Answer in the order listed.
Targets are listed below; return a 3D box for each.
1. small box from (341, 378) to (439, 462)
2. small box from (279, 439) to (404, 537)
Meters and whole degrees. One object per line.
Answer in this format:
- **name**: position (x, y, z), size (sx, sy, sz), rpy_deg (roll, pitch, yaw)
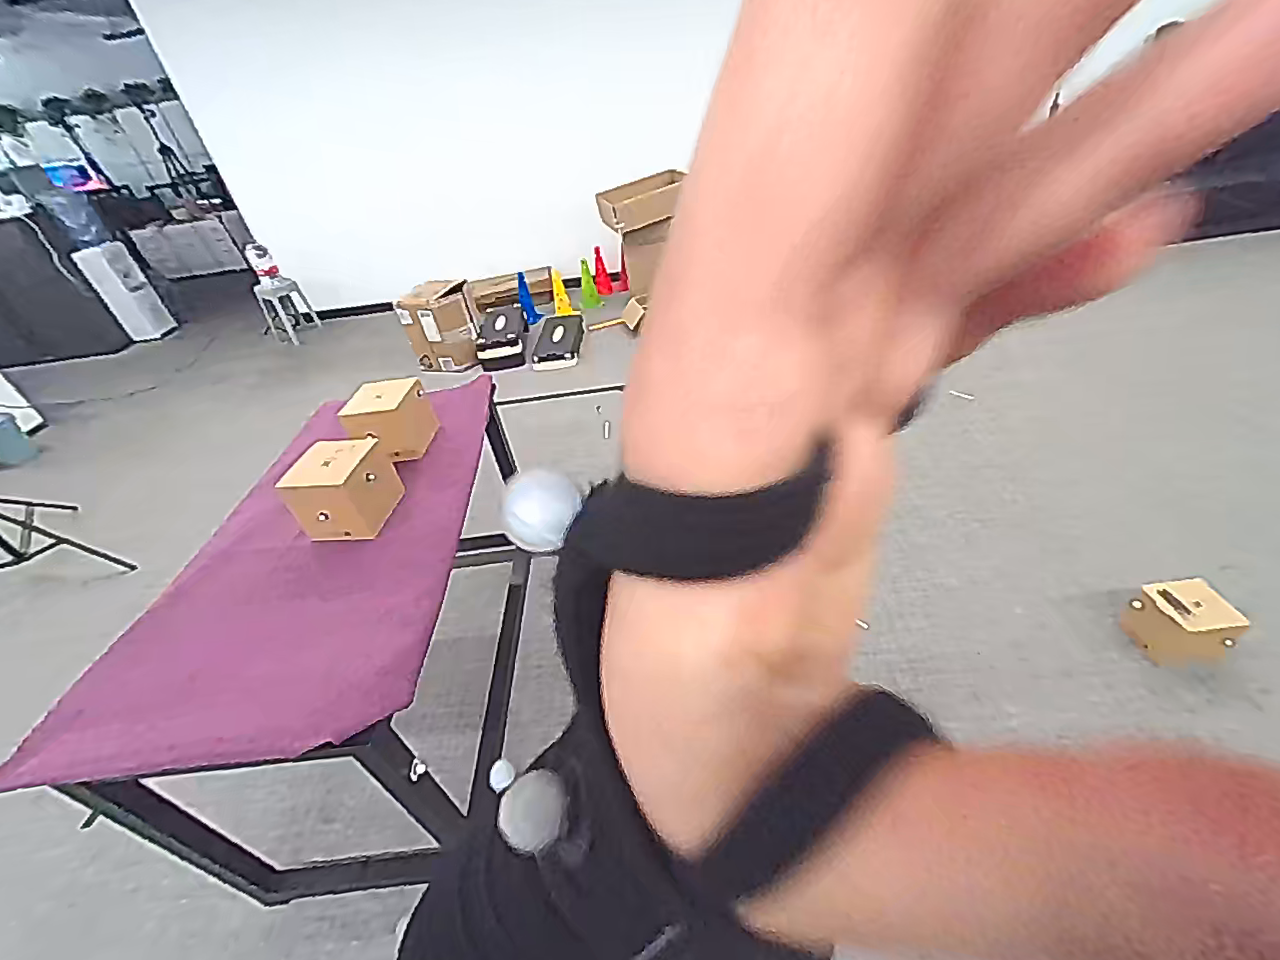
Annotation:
- **small box**: position (-0.688, -0.162, 1.514), size (0.168, 0.176, 0.179), rpy_deg (-6, 38, 6)
- **small box**: position (-0.691, 0.022, 1.278), size (0.168, 0.176, 0.179), rpy_deg (-2, 38, 8)
